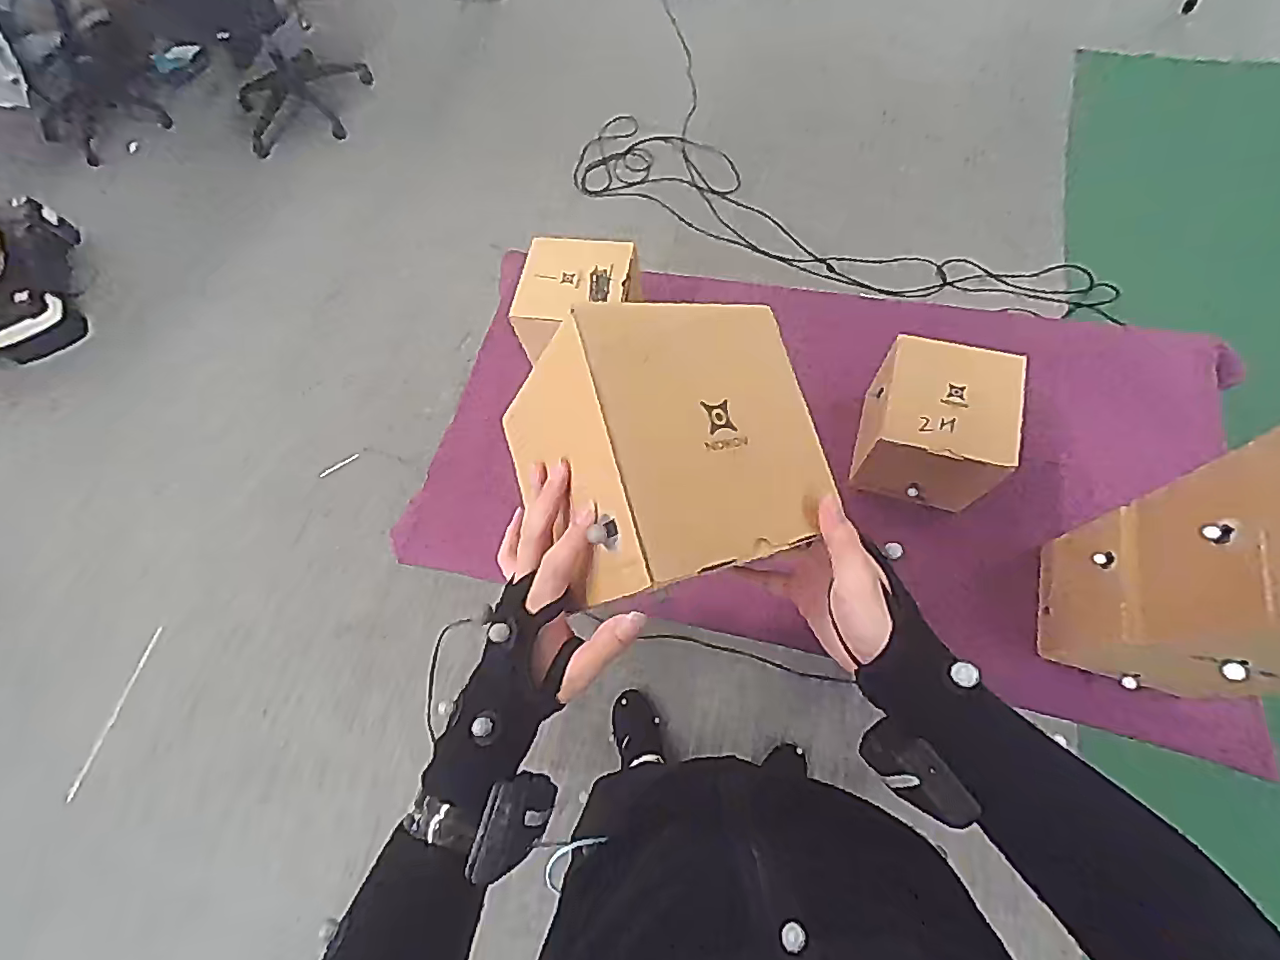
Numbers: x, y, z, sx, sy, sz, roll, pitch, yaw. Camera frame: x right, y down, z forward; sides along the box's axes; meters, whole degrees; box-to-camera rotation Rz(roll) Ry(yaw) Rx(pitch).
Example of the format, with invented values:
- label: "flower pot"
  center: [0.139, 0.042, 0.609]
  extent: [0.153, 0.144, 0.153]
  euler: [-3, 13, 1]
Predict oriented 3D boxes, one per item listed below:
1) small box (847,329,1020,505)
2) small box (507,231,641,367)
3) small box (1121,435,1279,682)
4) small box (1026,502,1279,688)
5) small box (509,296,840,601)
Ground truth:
- label: "small box"
  center: [0.419, -0.086, 0.793]
  extent: [0.168, 0.176, 0.179]
  euler: [15, 71, 12]
- label: "small box"
  center: [-0.100, -0.294, 0.927]
  extent: [0.179, 0.176, 0.168]
  euler: [8, 70, 9]
- label: "small box"
  center: [0.617, 0.084, 0.527]
  extent: [0.168, 0.176, 0.179]
  euler: [14, 71, 13]
- label: "small box"
  center: [0.630, 0.149, 0.676]
  extent: [0.179, 0.176, 0.168]
  euler: [15, 70, 12]
- label: "small box"
  center: [0.012, -0.017, 0.417]
  extent: [0.168, 0.176, 0.179]
  euler: [-10, 79, -32]
